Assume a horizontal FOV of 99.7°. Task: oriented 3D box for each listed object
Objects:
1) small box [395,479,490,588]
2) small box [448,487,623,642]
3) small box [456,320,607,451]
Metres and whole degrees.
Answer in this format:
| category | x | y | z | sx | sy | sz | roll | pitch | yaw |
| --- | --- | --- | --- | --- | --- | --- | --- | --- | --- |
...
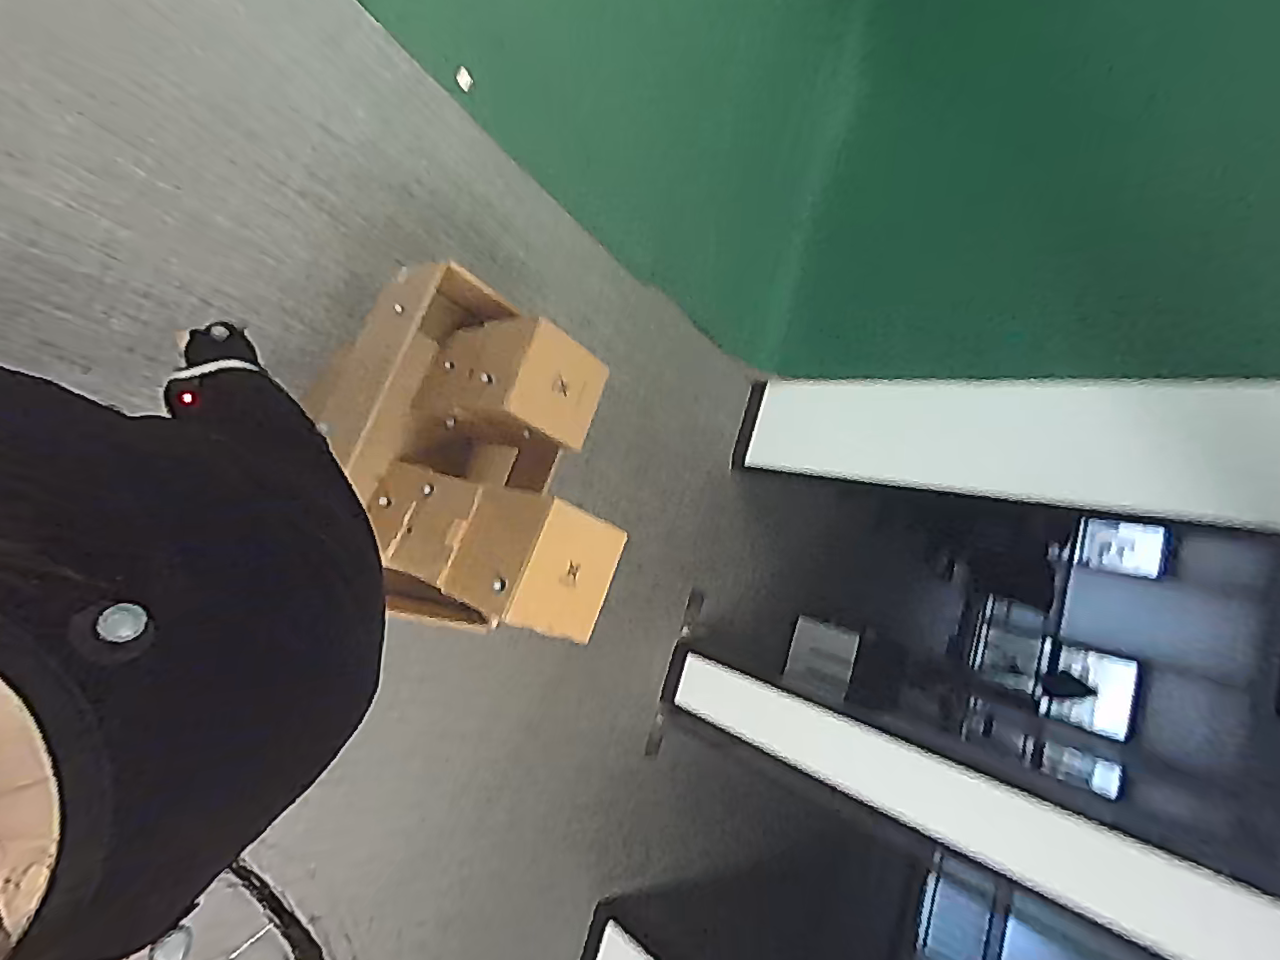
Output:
| category | x | y | z | sx | sy | sz | roll | pitch | yaw |
| --- | --- | --- | --- | --- | --- | --- | --- | --- | --- |
| small box | -0.284 | 0.106 | 0.932 | 0.179 | 0.176 | 0.168 | 35 | 71 | -46 |
| small box | -0.161 | 0.124 | 0.826 | 0.168 | 0.176 | 0.179 | 33 | 73 | -46 |
| small box | -0.198 | -0.164 | 0.975 | 0.179 | 0.176 | 0.168 | 32 | 74 | -47 |
